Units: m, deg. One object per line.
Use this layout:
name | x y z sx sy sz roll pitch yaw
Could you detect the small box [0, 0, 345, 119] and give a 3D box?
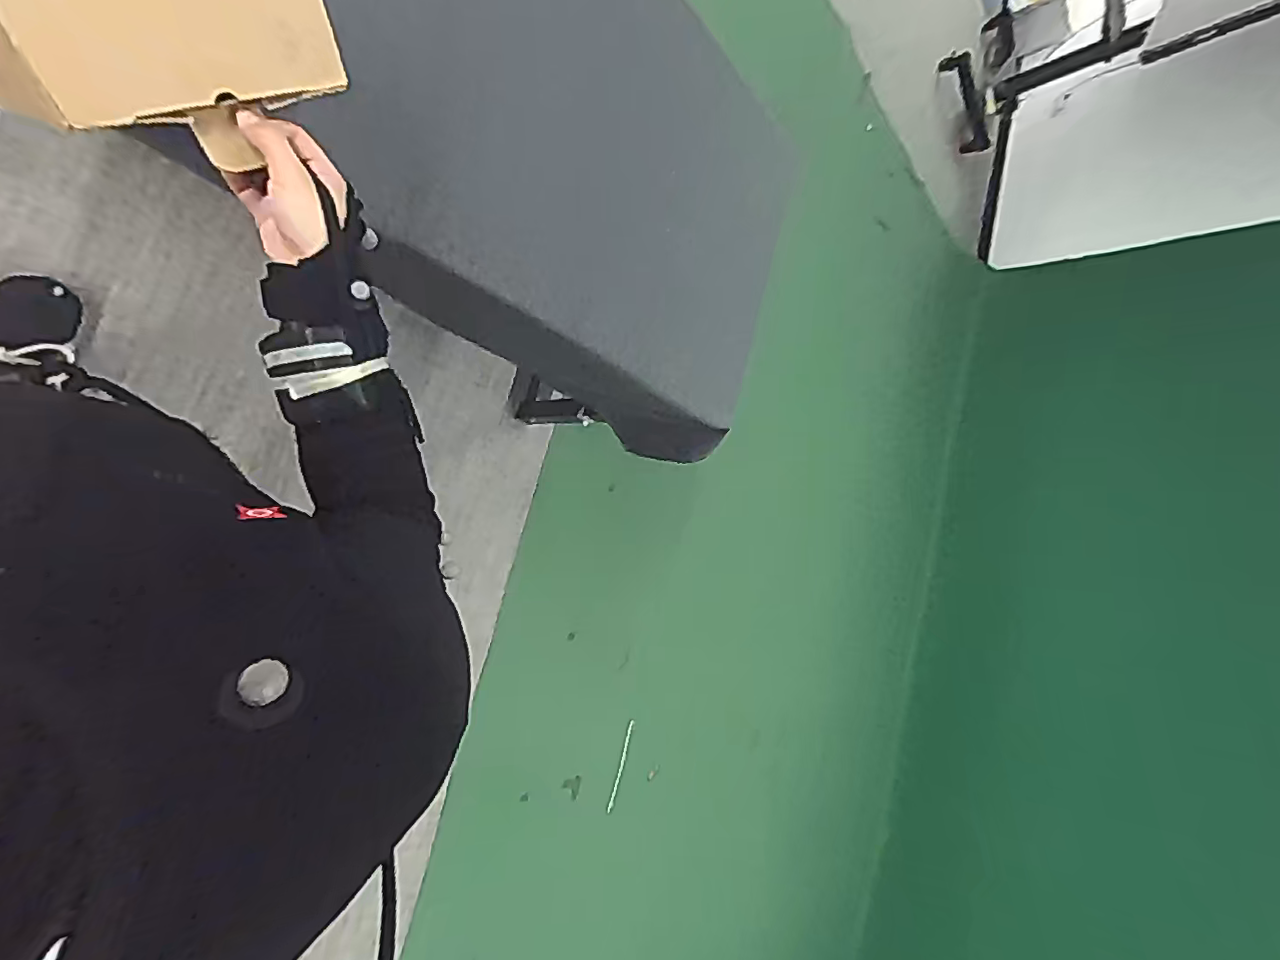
small box | -0.319 -0.331 0.312 0.168 0.176 0.179 -43 146 -35
